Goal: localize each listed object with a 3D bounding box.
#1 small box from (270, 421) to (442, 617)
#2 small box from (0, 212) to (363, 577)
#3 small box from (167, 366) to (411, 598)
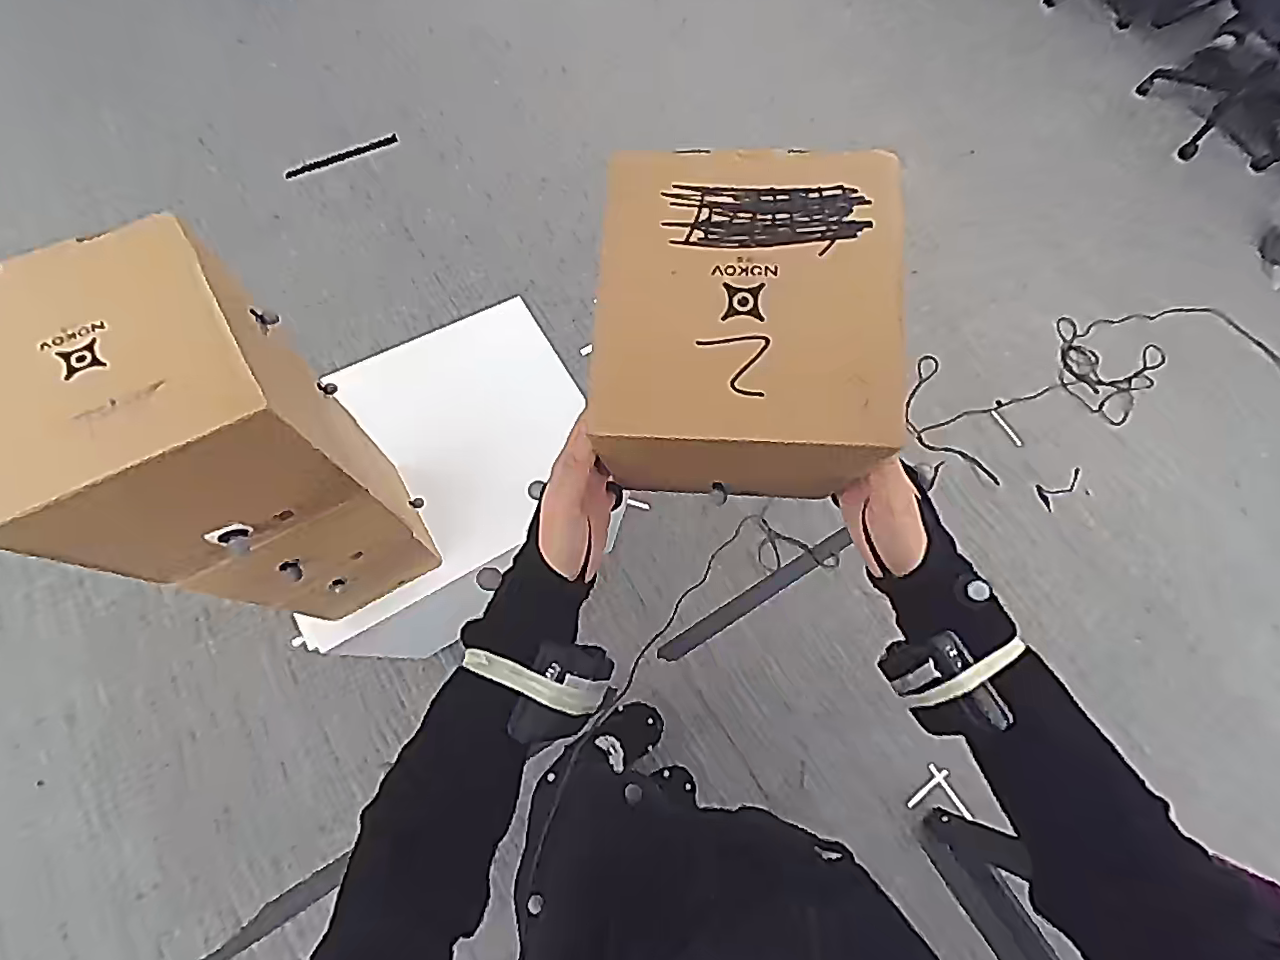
[{"bbox_3d":[-0.384,0.059,0.707,0.168,0.176,0.179,-29,76,-16],"label":"small box"},{"bbox_3d":[-0.344,-0.049,0.402,0.168,0.176,0.179,-30,77,-15],"label":"small box"},{"bbox_3d":[-0.363,0.007,0.554,0.168,0.176,0.179,-30,76,-16],"label":"small box"}]
